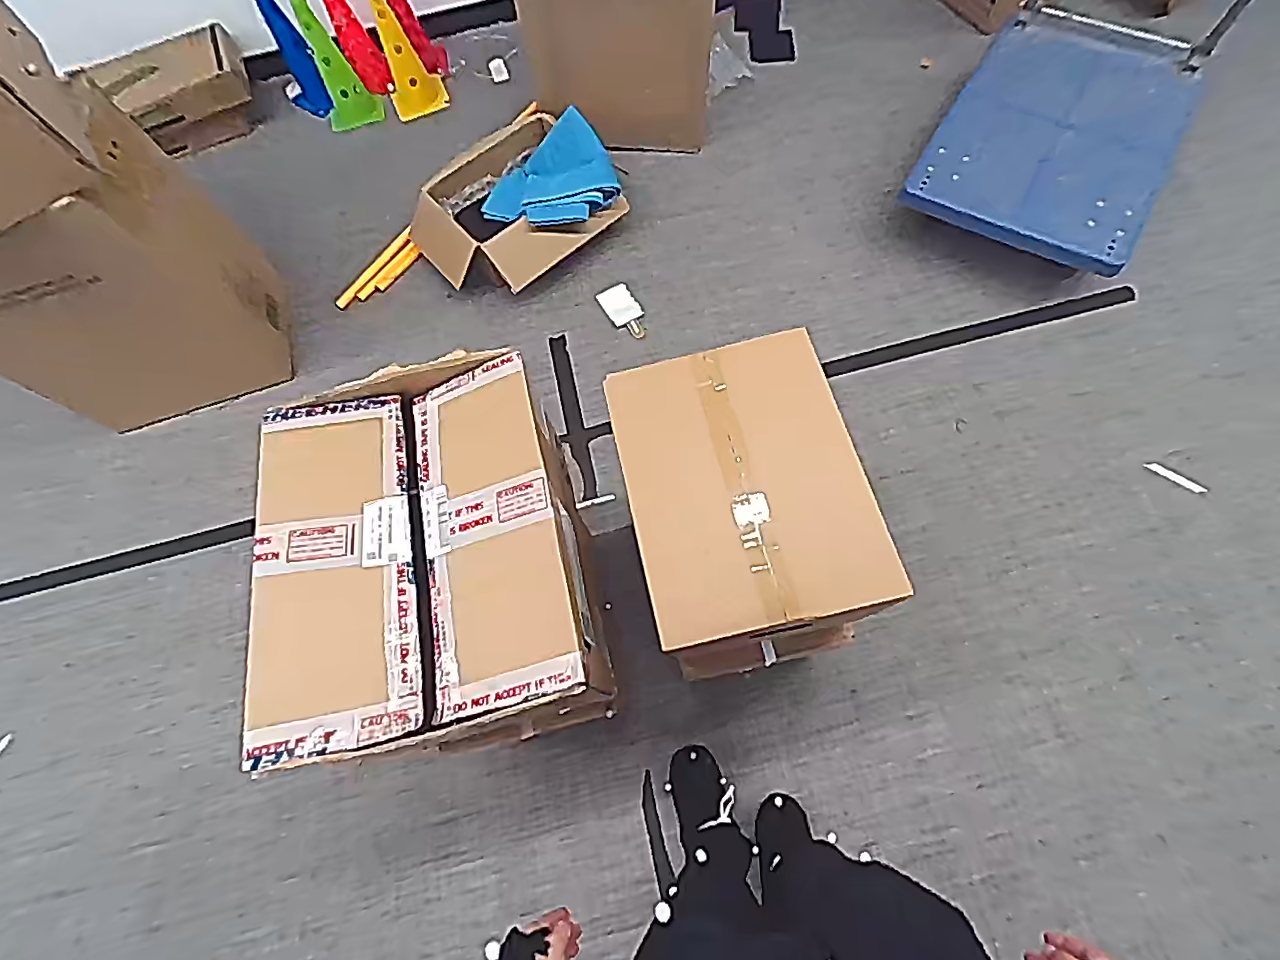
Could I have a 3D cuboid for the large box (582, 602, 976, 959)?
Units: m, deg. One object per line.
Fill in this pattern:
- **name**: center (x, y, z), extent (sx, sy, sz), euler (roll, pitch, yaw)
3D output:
- **large box**: center (0.177, 0.458, 0.774), extent (0.320, 0.320, 0.408), euler (-38, 108, -11)
